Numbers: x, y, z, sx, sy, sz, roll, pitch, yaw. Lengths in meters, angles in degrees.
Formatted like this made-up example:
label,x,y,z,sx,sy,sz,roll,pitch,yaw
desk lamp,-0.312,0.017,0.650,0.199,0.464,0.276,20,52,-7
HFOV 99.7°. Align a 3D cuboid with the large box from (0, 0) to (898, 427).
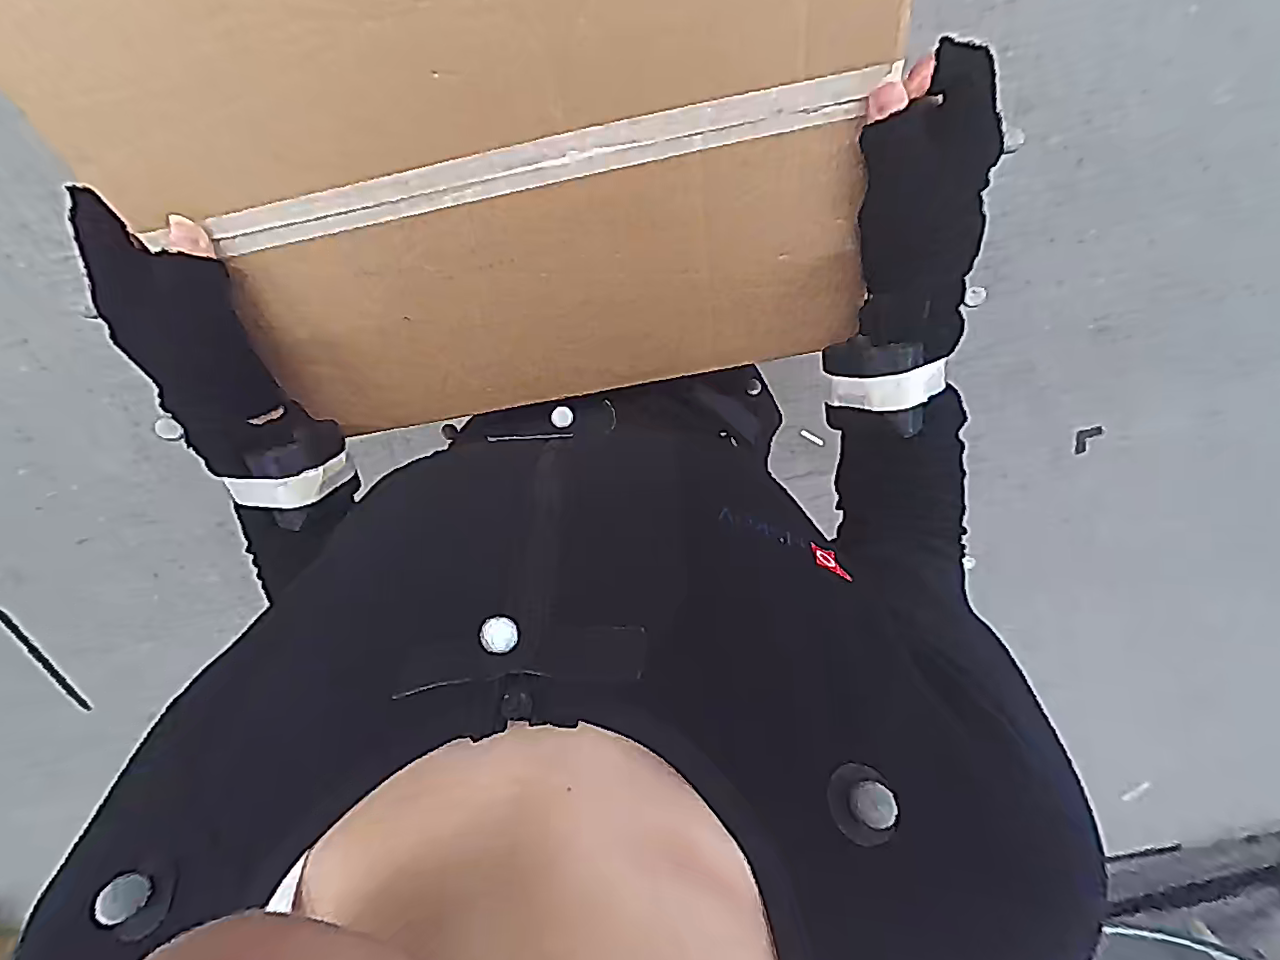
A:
label,x,y,z,sx,sy,sz,roll,pitch,yaw
large box,-0.082,-0.283,0.389,0.408,0.320,0.320,-10,140,5
